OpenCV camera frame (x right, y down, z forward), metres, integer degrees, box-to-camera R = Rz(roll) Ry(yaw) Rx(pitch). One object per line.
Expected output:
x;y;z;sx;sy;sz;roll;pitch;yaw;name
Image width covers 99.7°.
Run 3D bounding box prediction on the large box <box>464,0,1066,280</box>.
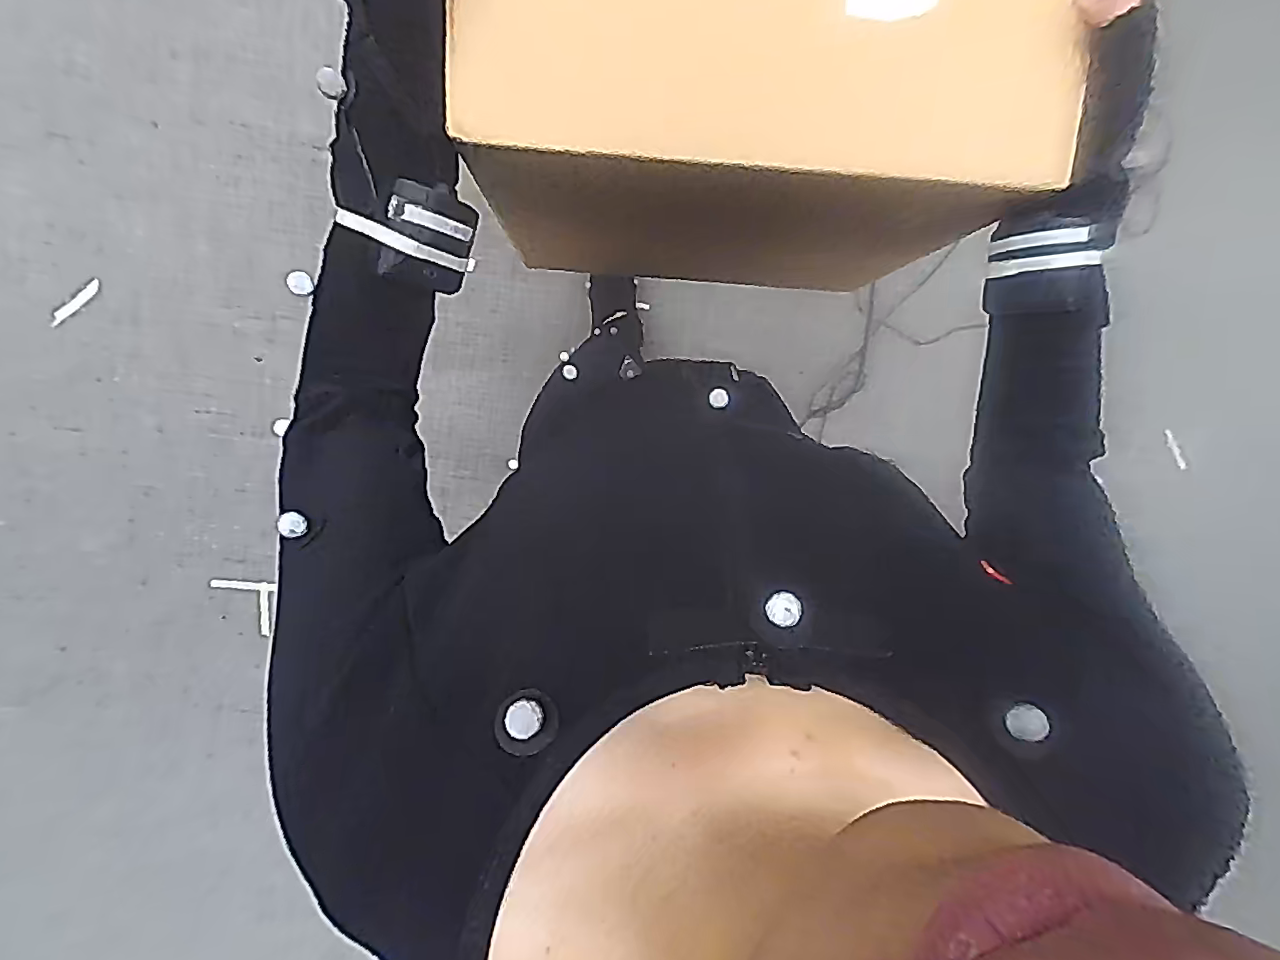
0.078;-0.385;0.493;0.408;0.320;0.320;2;97;-4;large box
